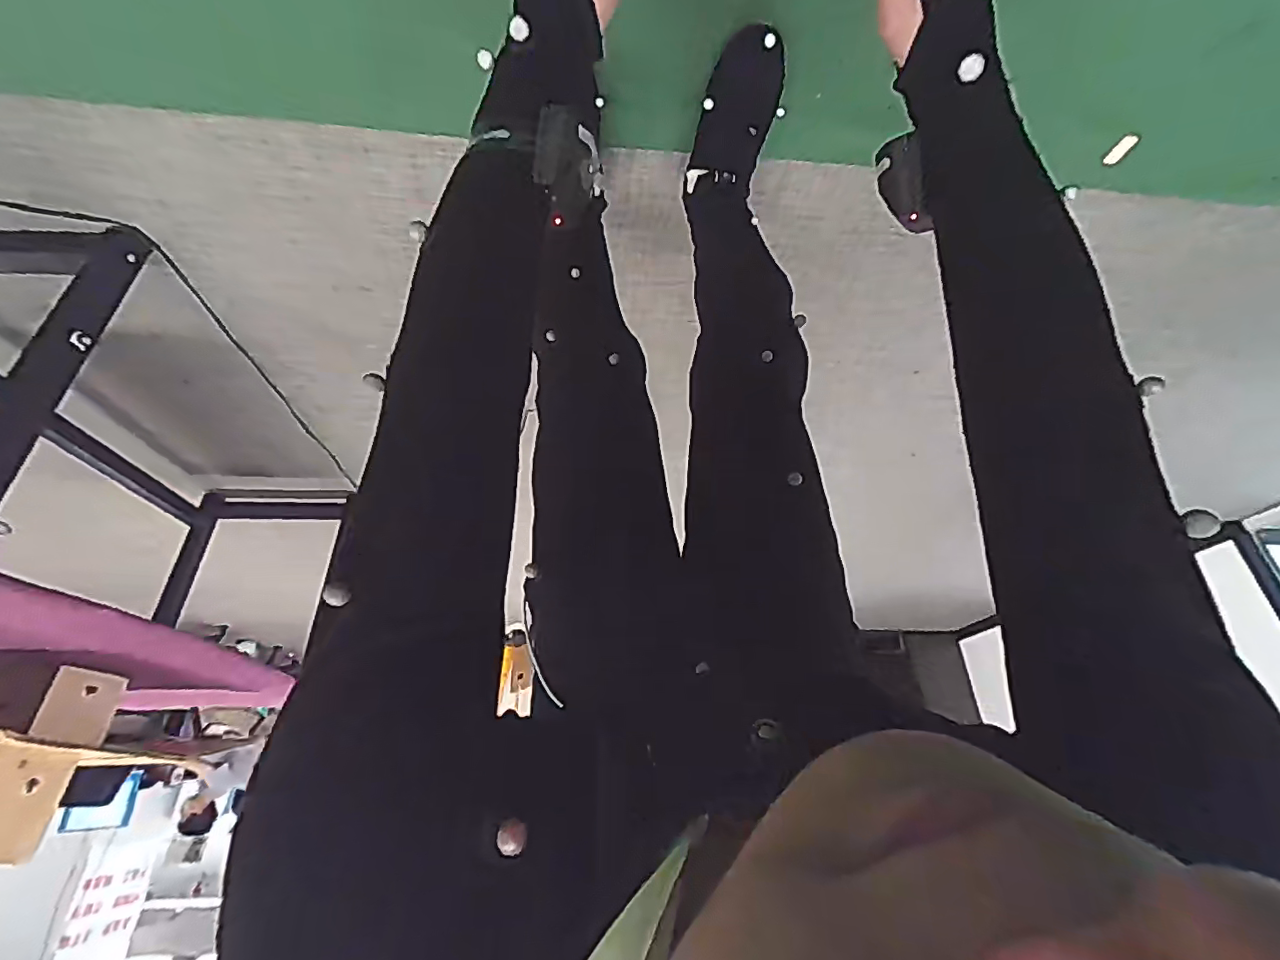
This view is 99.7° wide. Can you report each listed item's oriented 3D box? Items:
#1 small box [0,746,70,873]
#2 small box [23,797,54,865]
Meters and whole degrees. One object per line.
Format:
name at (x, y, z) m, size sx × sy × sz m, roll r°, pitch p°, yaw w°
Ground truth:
small box at (-1.095, 0.528, 0.860) m, size 0.179 × 0.176 × 0.168 m, roll -1°, pitch 148°, yaw -3°
small box at (-1.287, 0.642, 1.029) m, size 0.179 × 0.176 × 0.168 m, roll 0°, pitch 148°, yaw -2°
